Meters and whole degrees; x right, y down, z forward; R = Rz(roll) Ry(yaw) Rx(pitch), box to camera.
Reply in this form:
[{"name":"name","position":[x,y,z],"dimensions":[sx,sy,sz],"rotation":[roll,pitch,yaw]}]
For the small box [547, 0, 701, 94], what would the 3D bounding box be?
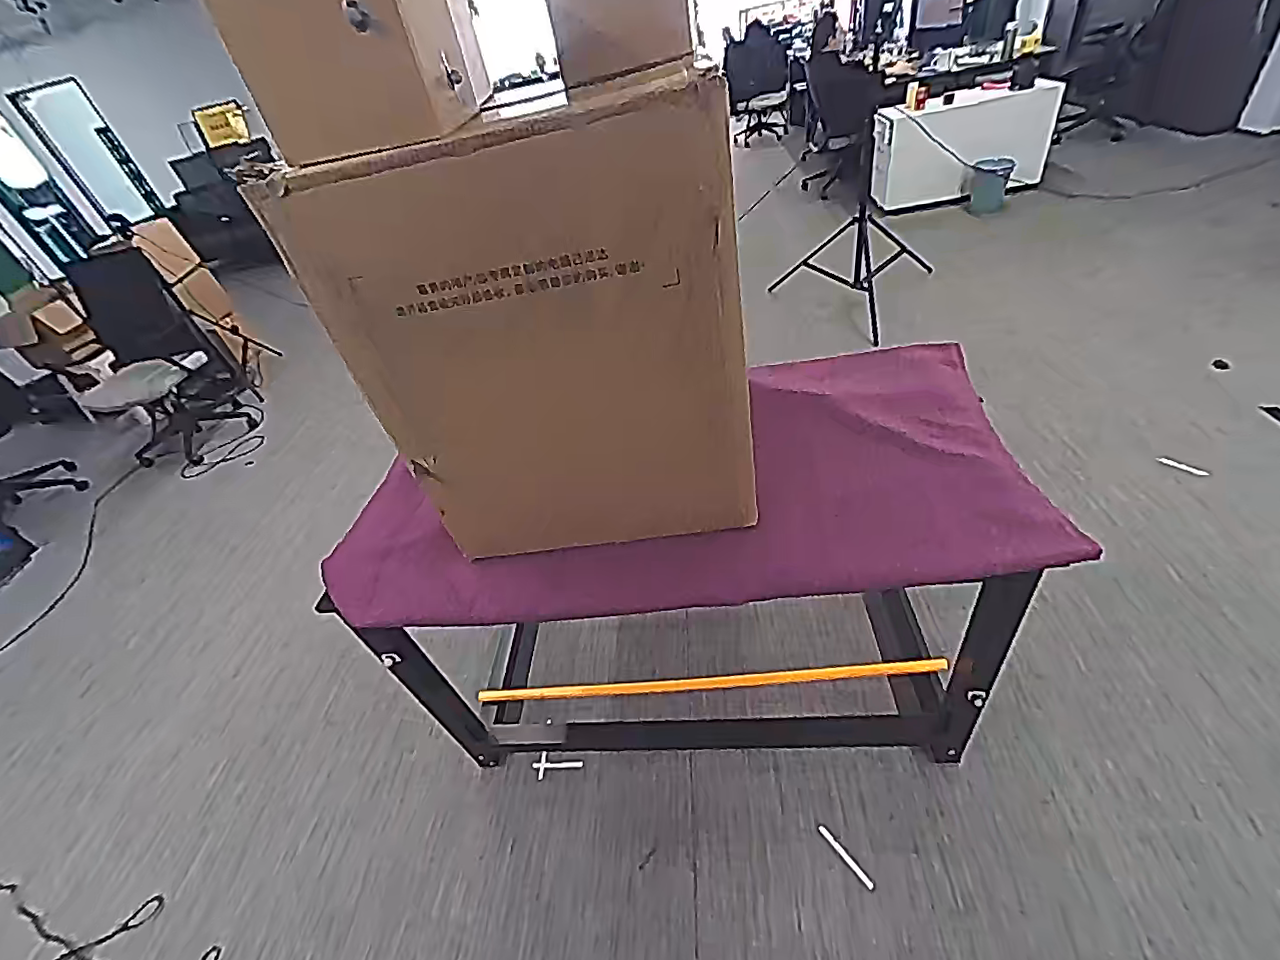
[{"name":"small box","position":[-0.017,-0.627,0.699],"dimensions":[0.179,0.176,0.168],"rotation":[-5,41,13]}]
